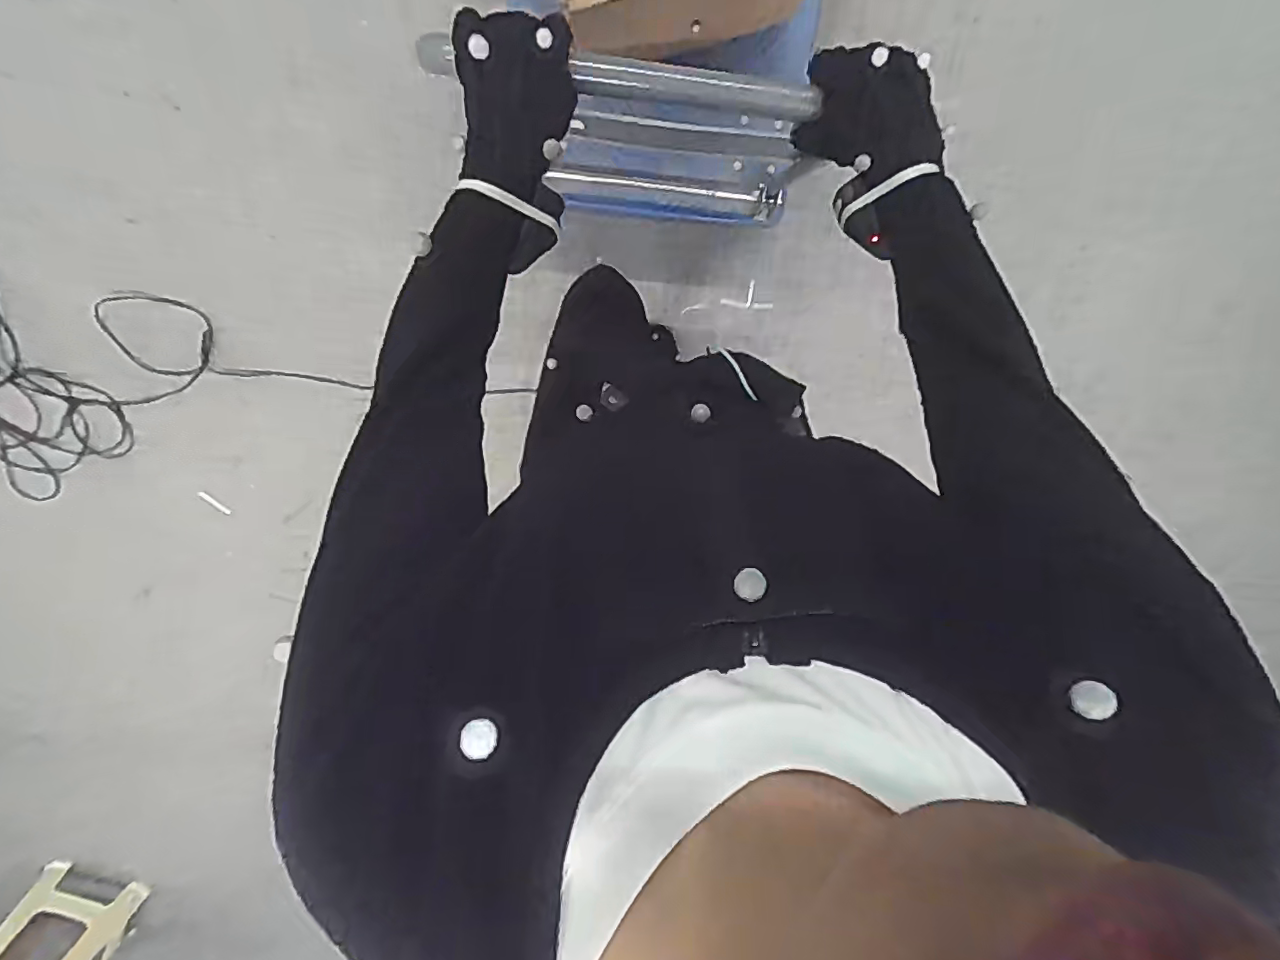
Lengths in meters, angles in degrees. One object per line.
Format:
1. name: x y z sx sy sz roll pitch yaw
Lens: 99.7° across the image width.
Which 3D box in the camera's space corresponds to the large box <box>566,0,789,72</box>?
1. large box: 0.051 -0.912 0.833 0.408 0.320 0.320 -14 110 5
